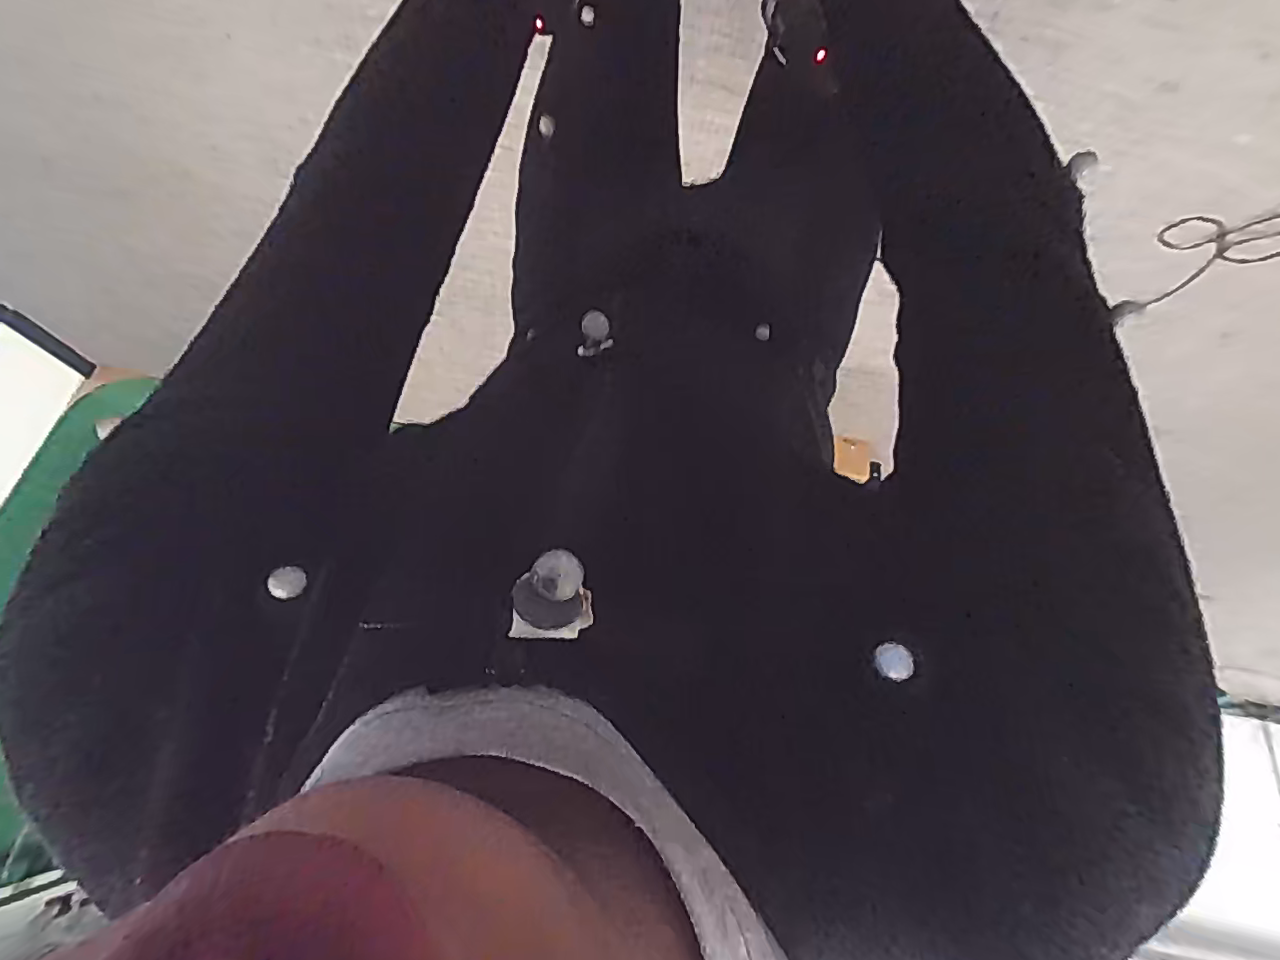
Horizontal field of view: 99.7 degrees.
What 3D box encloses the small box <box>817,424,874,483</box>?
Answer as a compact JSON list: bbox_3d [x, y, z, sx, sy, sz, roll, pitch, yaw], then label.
[{"bbox_3d":[0.849,-0.108,2.235,0.168,0.176,0.179,10,157,-2],"label":"small box"}]
